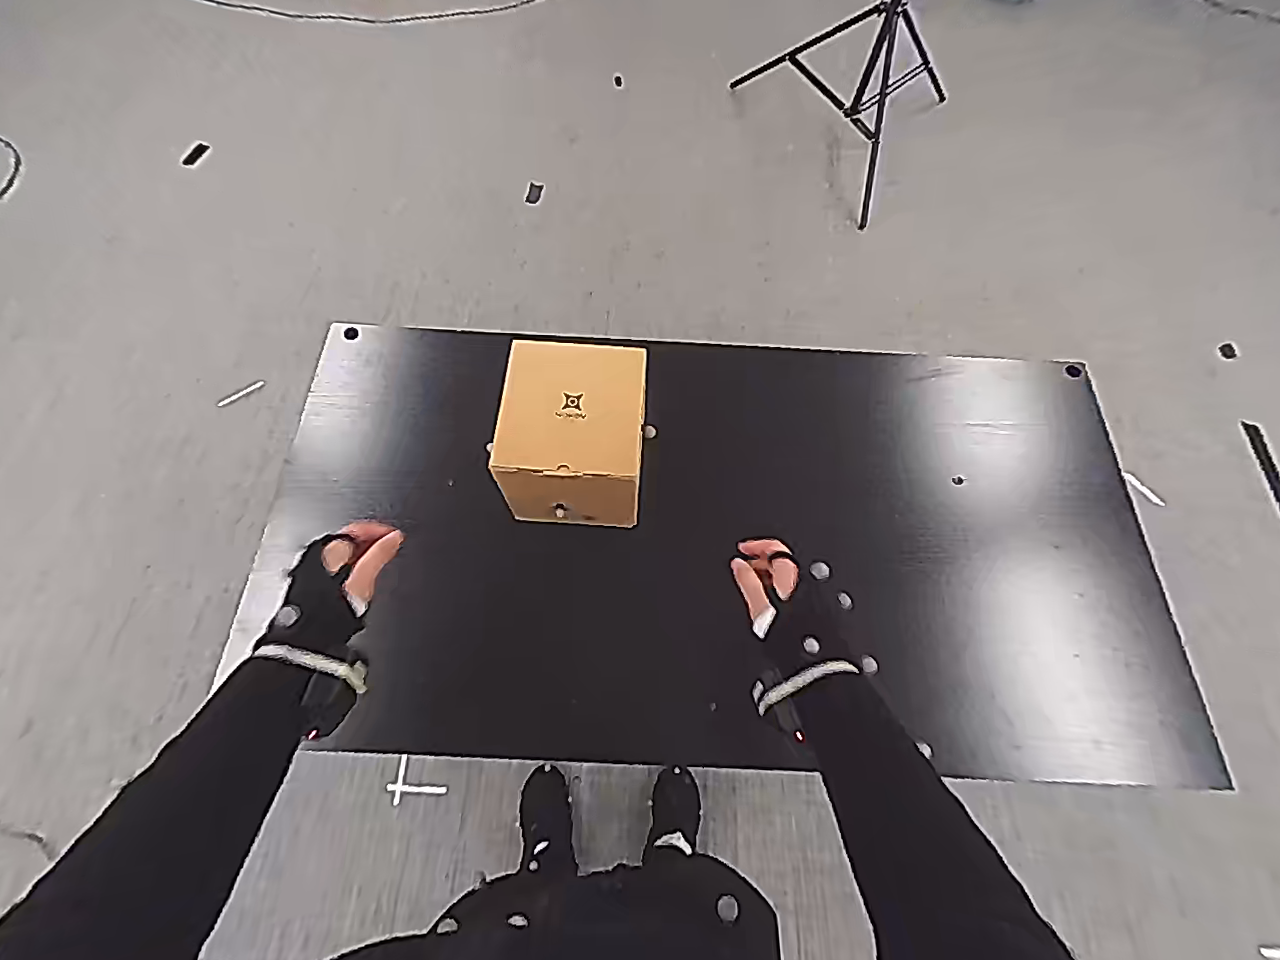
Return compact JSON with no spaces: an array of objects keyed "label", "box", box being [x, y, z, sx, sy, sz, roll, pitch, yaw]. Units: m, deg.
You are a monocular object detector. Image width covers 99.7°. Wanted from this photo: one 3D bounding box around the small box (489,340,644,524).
[{"label":"small box","box":[-0.085,-0.056,0.705,0.168,0.176,0.179,4,67,0]}]
